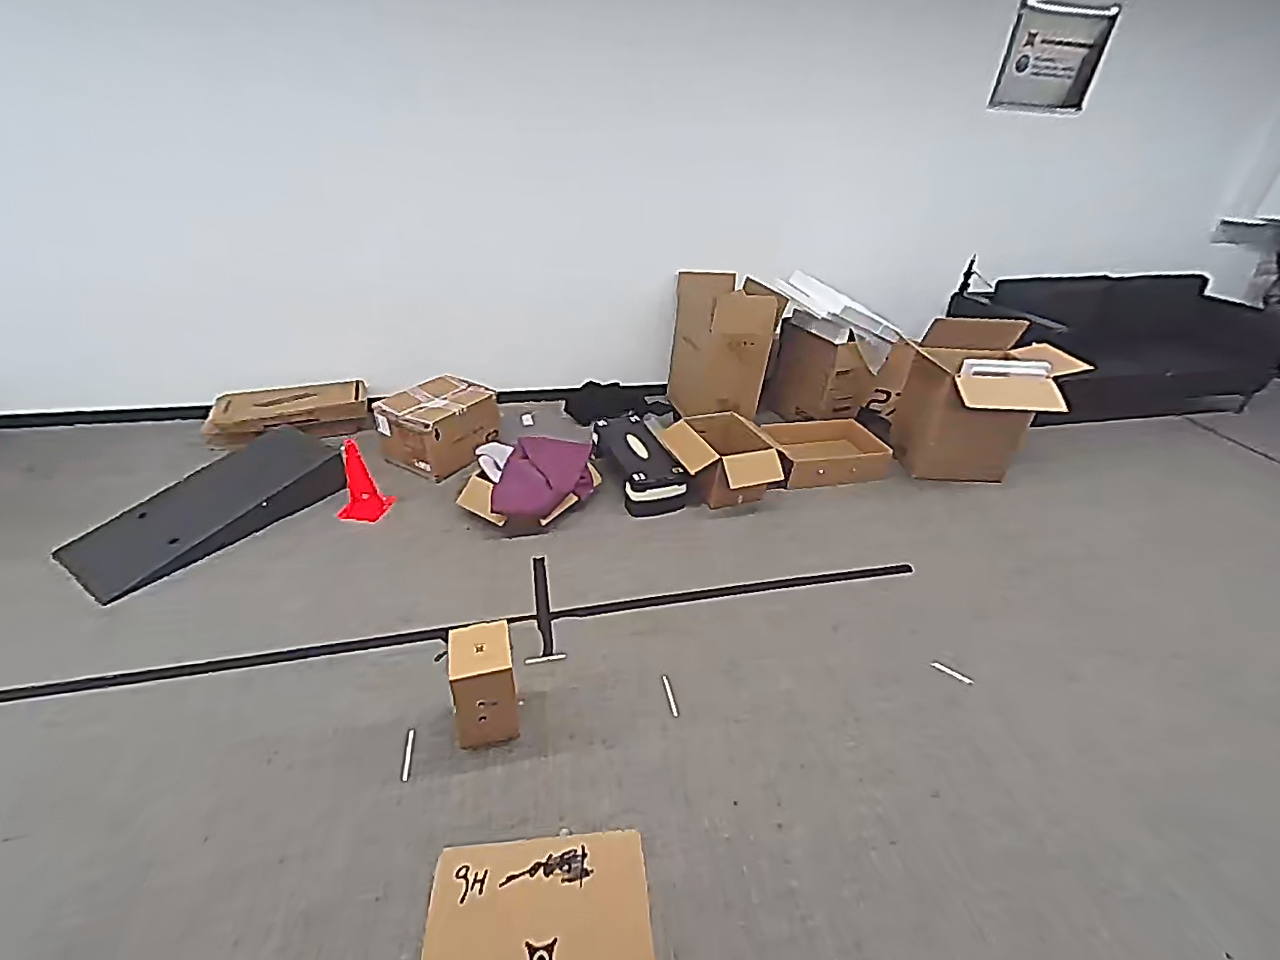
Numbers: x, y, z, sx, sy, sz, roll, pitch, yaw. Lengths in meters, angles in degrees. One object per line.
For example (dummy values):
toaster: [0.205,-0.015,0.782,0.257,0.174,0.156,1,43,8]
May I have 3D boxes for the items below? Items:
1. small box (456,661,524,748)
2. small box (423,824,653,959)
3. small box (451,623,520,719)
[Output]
small box: [-0.450,0.676,1.626,0.179,0.176,0.168,-6,34,-14]
small box: [-0.075,0.408,0.427,0.168,0.176,0.179,-1,36,-7]
small box: [-0.439,0.541,1.536,0.168,0.176,0.179,-9,36,-15]
